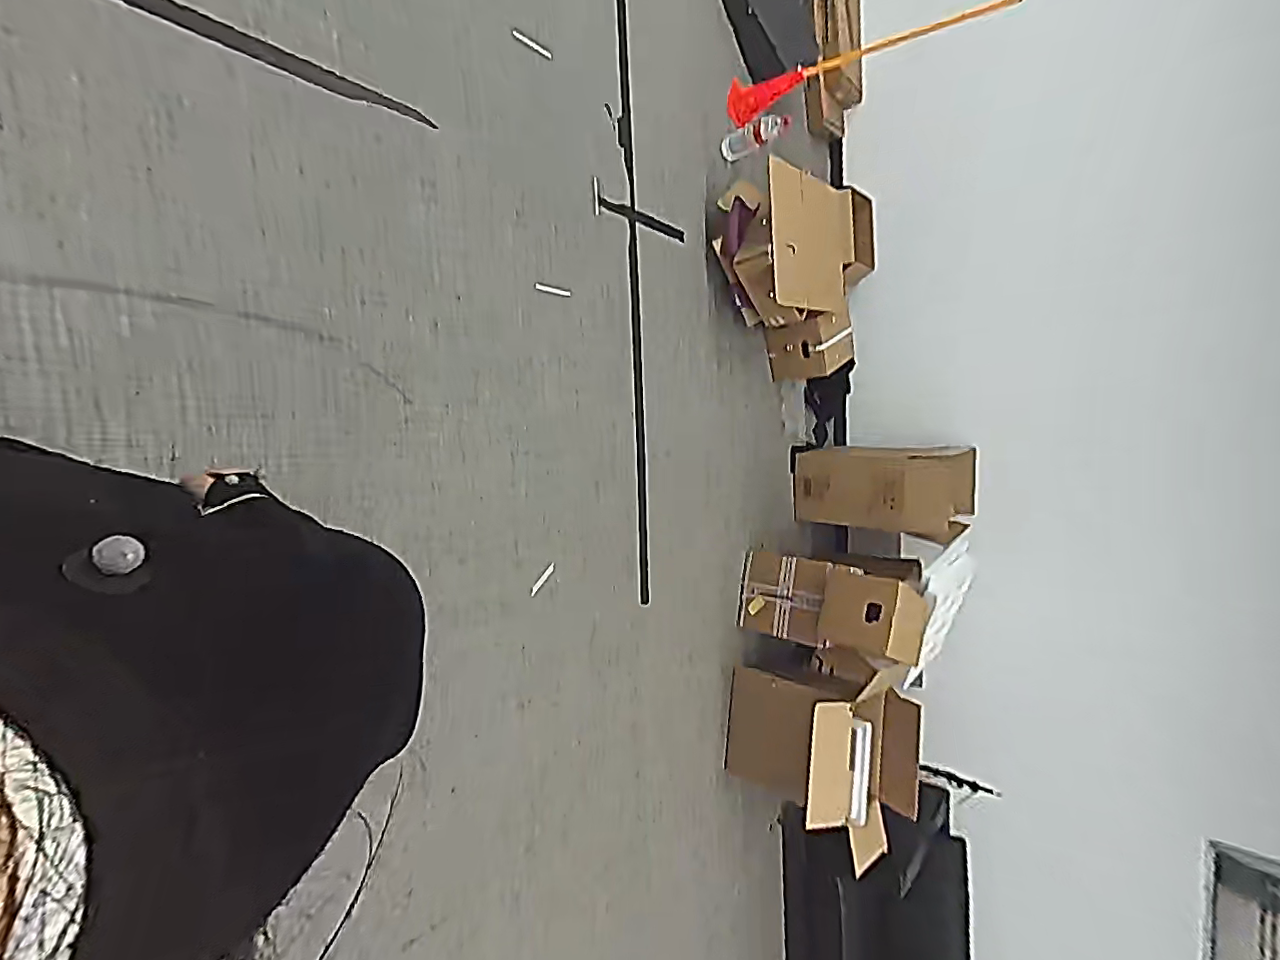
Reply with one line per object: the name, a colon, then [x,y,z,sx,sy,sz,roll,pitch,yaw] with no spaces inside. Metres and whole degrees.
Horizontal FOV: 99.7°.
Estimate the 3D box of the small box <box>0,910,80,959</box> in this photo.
small box: [-0.679,0.580,0.536,0.168,0.176,0.179,2,90,-47]
